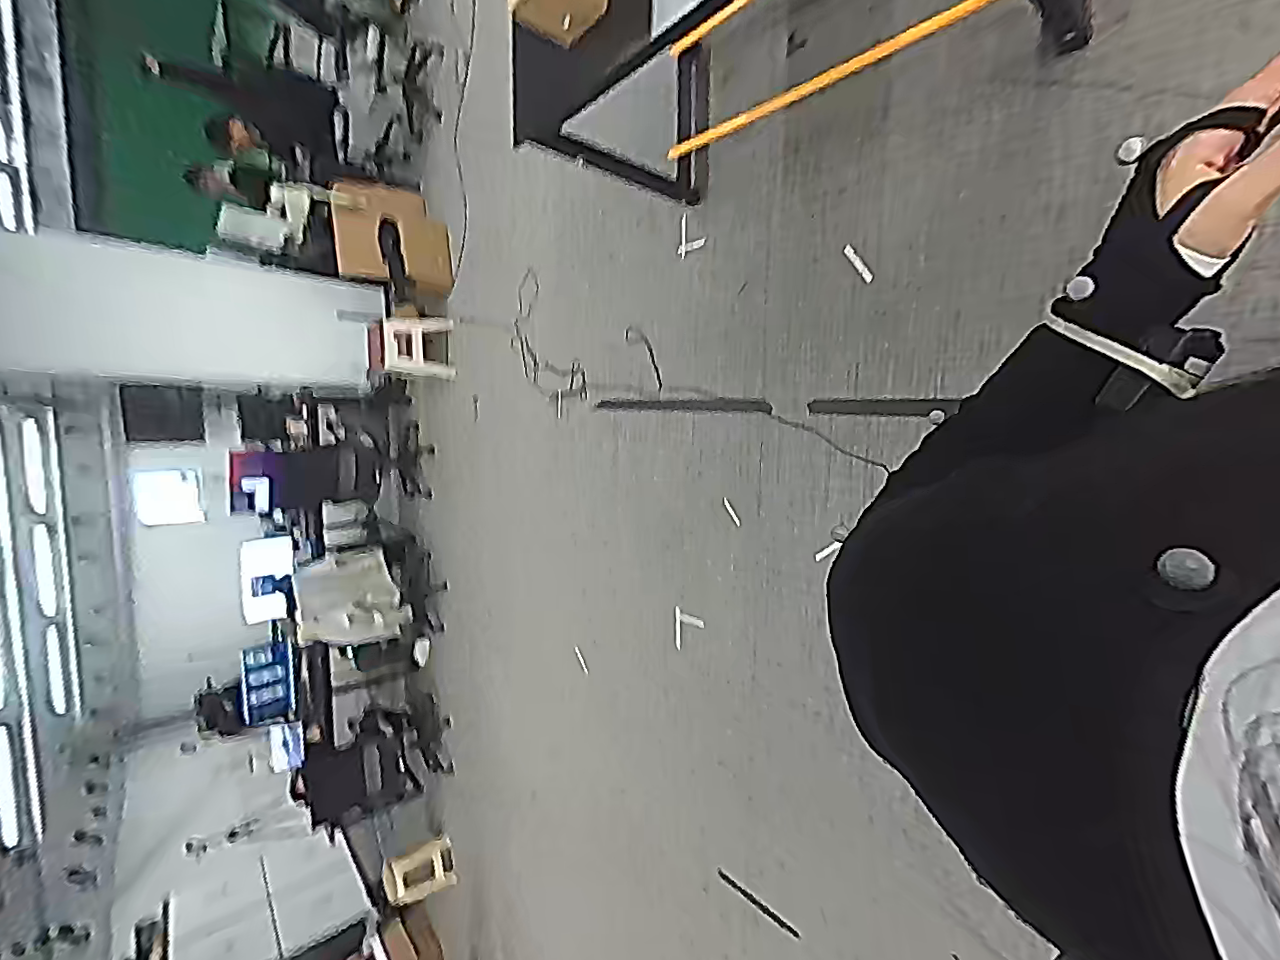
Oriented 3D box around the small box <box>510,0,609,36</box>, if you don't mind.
[{"bbox_3d":[-0.179,-1.166,1.218,0.168,0.176,0.179,10,101,49],"label":"small box"}]
